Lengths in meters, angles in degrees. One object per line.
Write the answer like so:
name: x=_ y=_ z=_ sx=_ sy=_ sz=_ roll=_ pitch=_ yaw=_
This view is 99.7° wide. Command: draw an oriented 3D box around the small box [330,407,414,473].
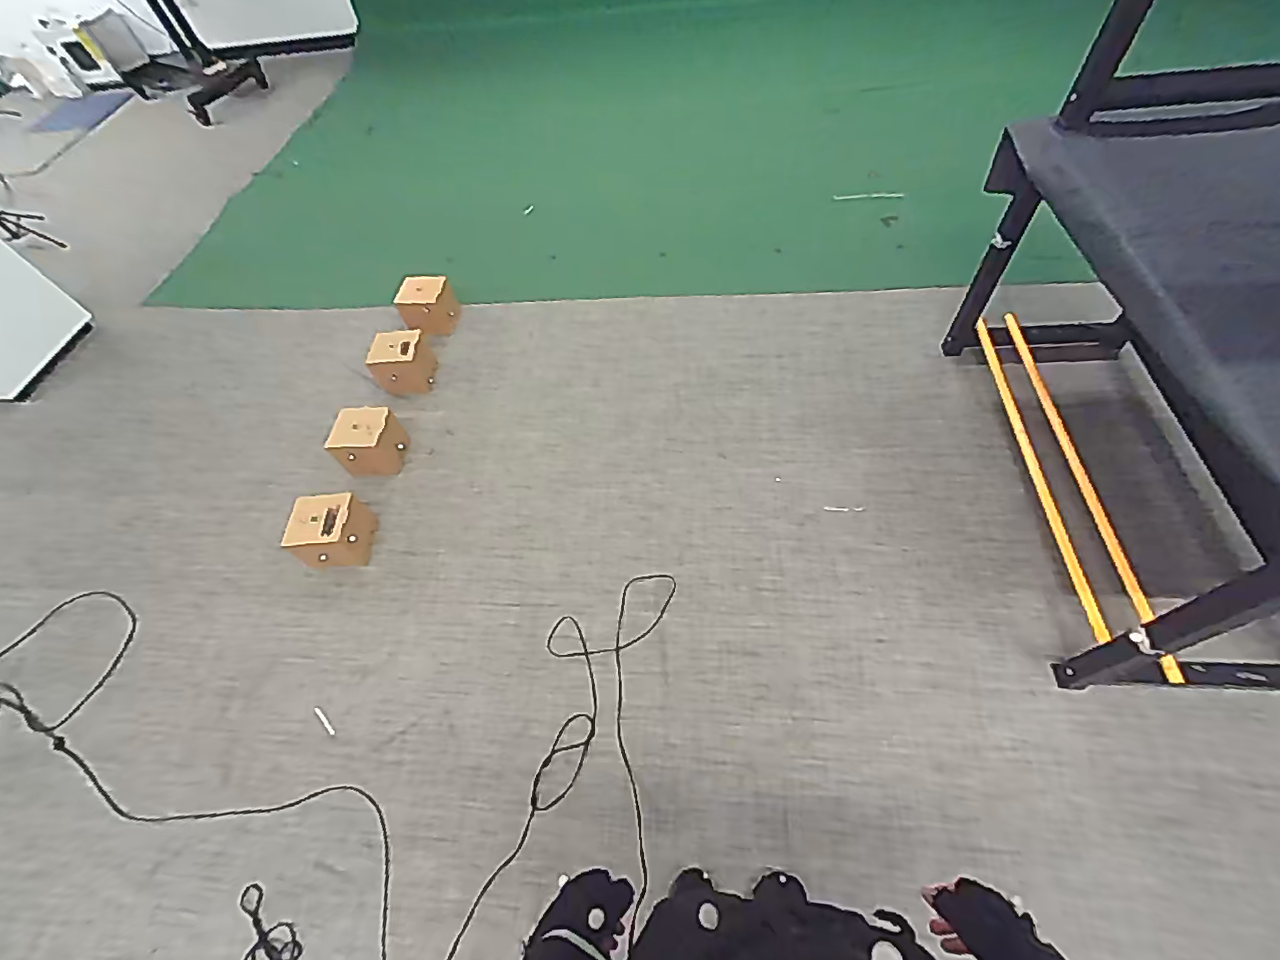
small box: x=-0.905 y=-0.133 z=1.843 sx=0.179 sy=0.176 sz=0.168 roll=0 pitch=58 yaw=5

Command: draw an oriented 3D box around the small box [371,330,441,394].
small box: x=-0.878 y=-0.444 z=2.050 sx=0.179 sy=0.176 sz=0.168 roll=-3 pitch=56 yaw=5

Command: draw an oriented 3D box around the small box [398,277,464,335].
small box: x=-0.854 y=-0.714 z=2.228 sx=0.179 sy=0.176 sz=0.168 roll=2 pitch=57 yaw=7
